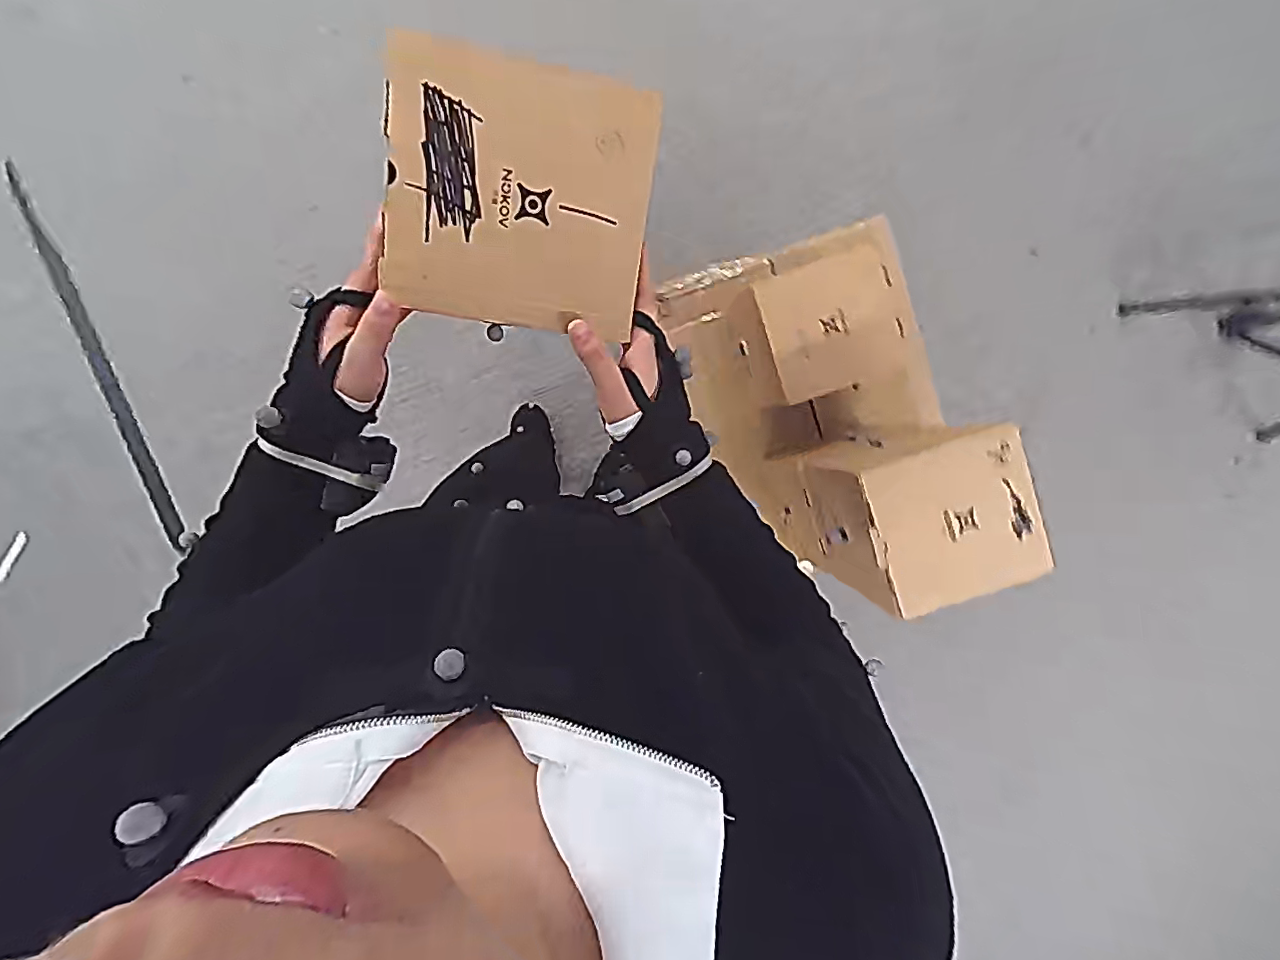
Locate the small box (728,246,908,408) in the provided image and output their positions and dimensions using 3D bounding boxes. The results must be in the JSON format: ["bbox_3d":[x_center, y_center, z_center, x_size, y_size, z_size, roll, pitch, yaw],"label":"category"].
[{"bbox_3d":[0.246,-0.209,0.786,0.179,0.176,0.168,-19,95,0],"label":"small box"}]

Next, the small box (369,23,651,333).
[{"bbox_3d":[-0.102,-0.214,0.440,0.179,0.176,0.168,4,105,-13],"label":"small box"}]

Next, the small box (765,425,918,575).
[{"bbox_3d":[0.309,0.021,0.807,0.179,0.176,0.168,-19,94,-1],"label":"small box"}]

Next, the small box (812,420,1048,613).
[{"bbox_3d":[0.323,0.036,0.644,0.179,0.176,0.168,-18,94,-1],"label":"small box"}]
